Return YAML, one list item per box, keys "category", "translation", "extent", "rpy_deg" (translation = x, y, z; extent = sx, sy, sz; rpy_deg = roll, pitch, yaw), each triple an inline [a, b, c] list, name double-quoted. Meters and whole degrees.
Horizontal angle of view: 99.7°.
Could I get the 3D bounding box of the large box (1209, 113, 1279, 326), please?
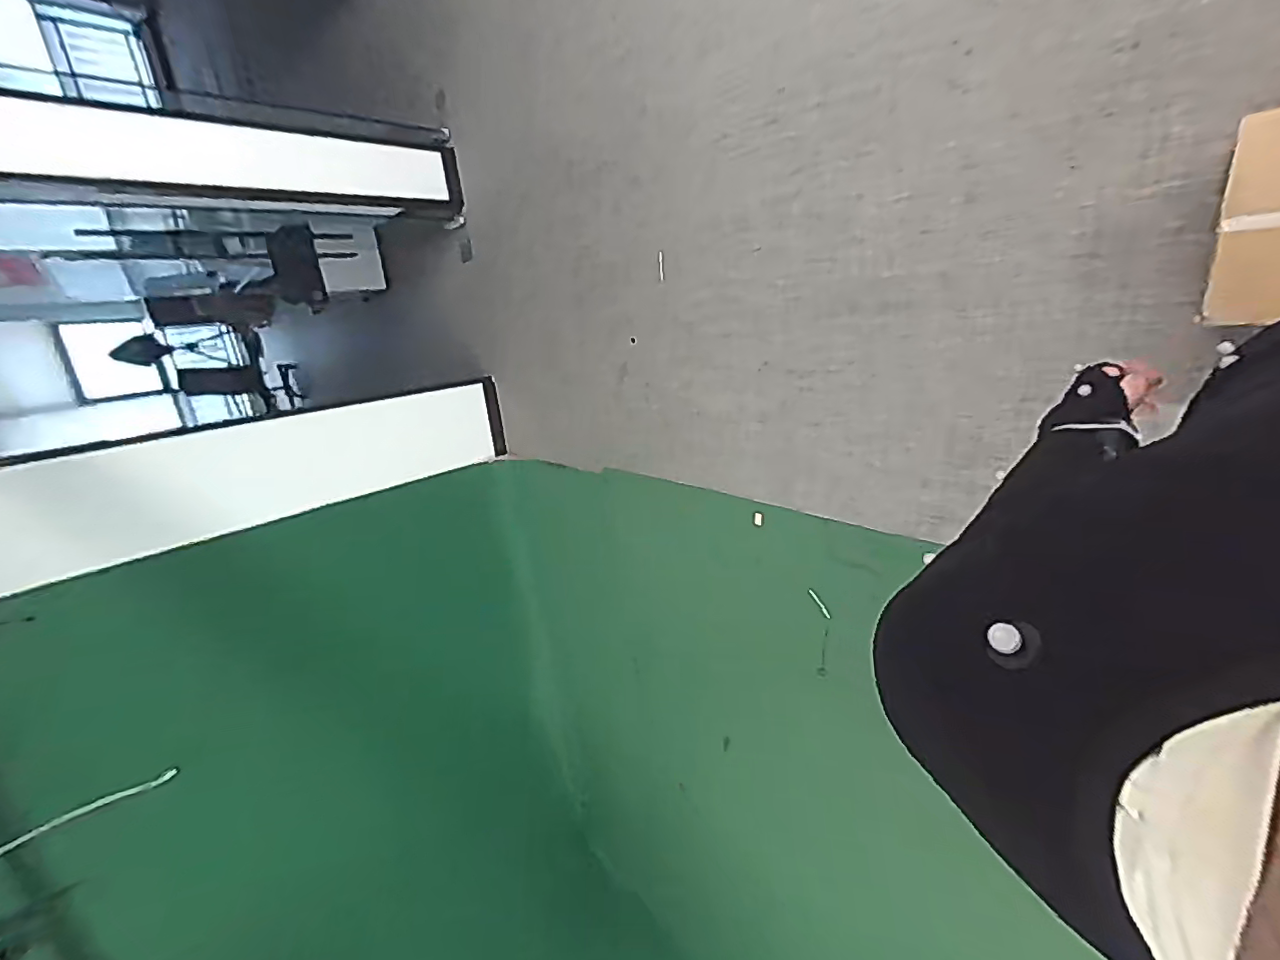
- category: "large box"
  translation: [1.191, -0.422, 0.825]
  extent: [0.408, 0.320, 0.320]
  rpy_deg: [11, 113, 46]
